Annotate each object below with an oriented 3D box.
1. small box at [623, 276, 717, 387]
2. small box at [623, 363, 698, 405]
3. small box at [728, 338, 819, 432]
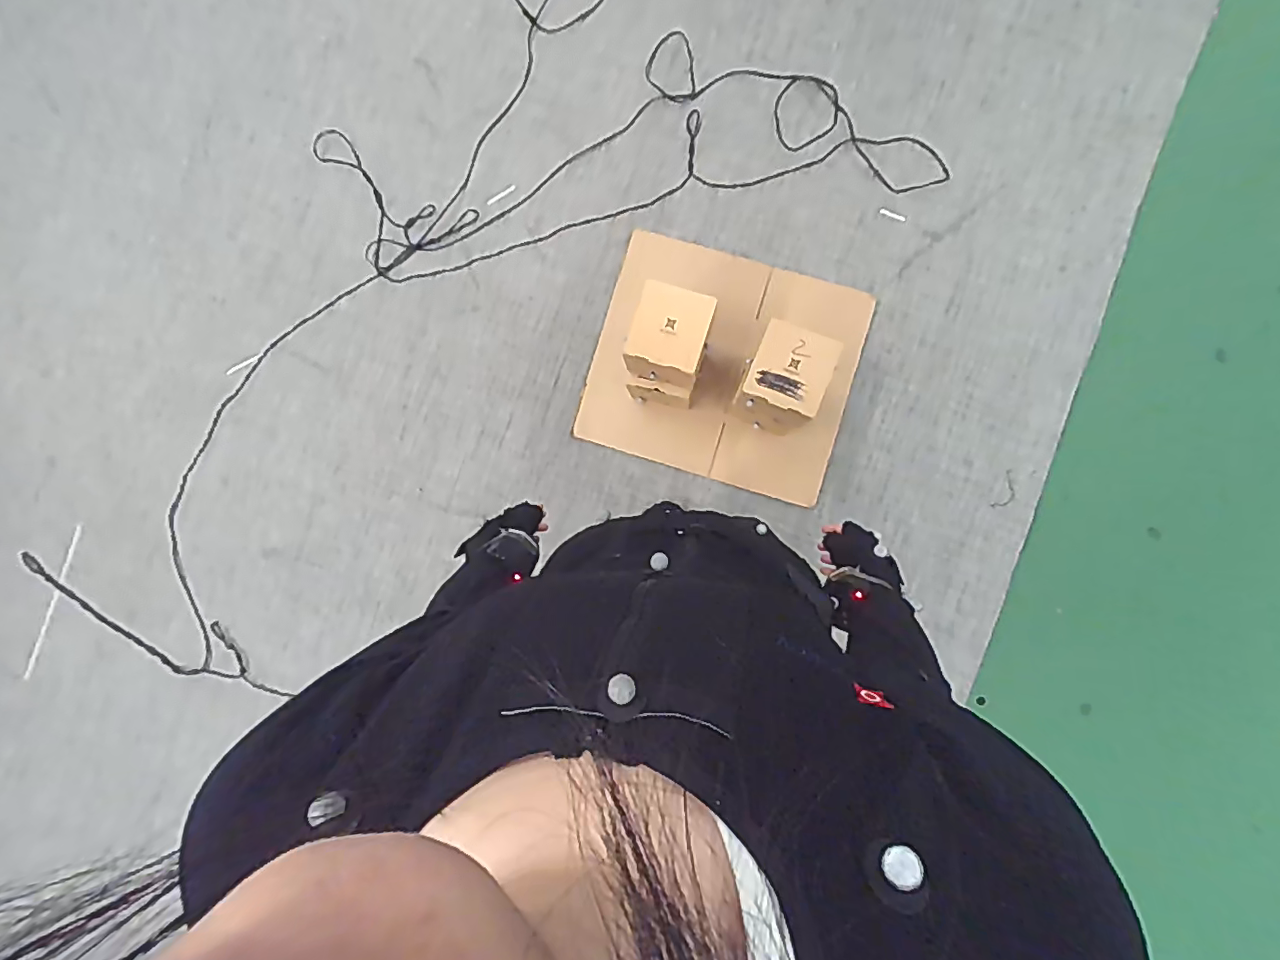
[{"bbox_3d":[0.067,-0.333,1.244,0.168,0.176,0.179,18,89,3],"label":"small box"},{"bbox_3d":[0.064,-0.304,1.407,0.168,0.176,0.179,15,89,4],"label":"small box"},{"bbox_3d":[0.334,-0.236,1.392,0.168,0.176,0.179,22,91,5],"label":"small box"}]
